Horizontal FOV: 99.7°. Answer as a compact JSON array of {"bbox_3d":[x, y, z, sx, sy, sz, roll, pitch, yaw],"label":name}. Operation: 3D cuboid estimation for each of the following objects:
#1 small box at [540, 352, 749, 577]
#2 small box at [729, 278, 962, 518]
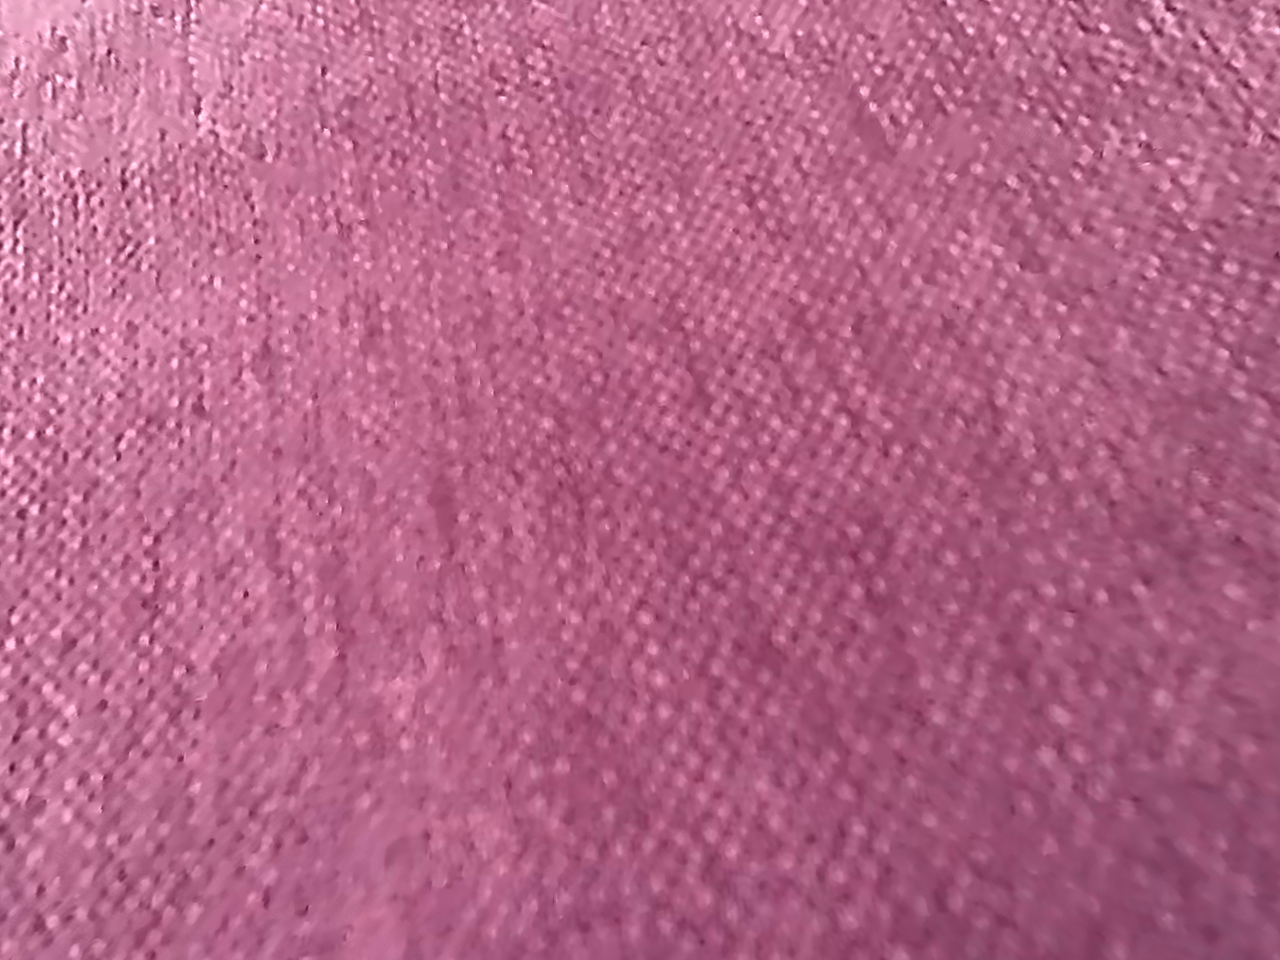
[{"bbox_3d":[0.009,-0.005,0.604,0.168,0.176,0.179,-21,73,2],"label":"small box"},{"bbox_3d":[0.203,-0.078,0.596,0.168,0.176,0.179,-21,72,3],"label":"small box"}]
